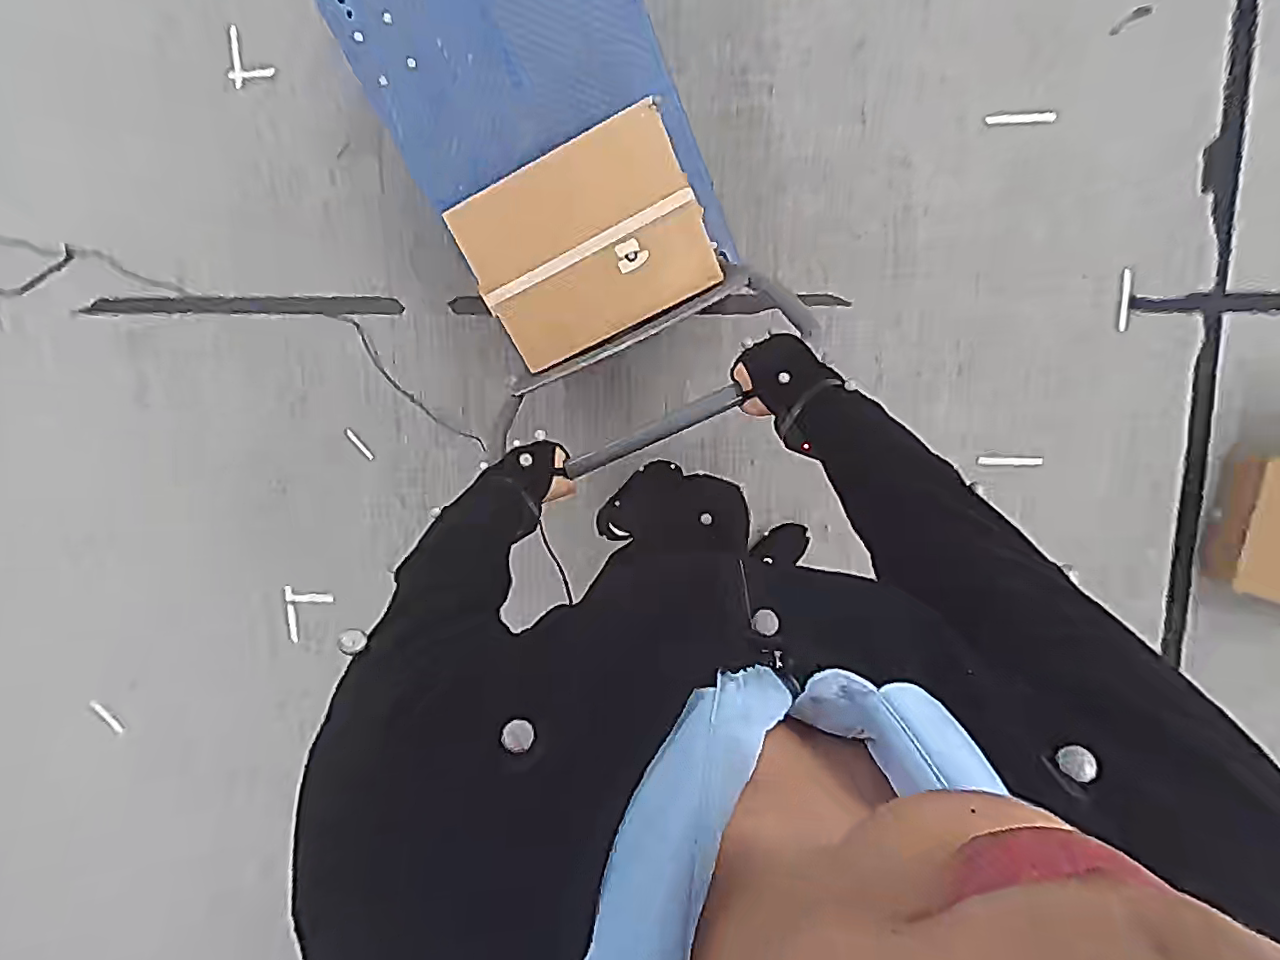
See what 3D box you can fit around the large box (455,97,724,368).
[{"bbox_3d":[-0.092,-0.480,1.109,0.408,0.320,0.320,-25,112,8],"label":"large box"}]
